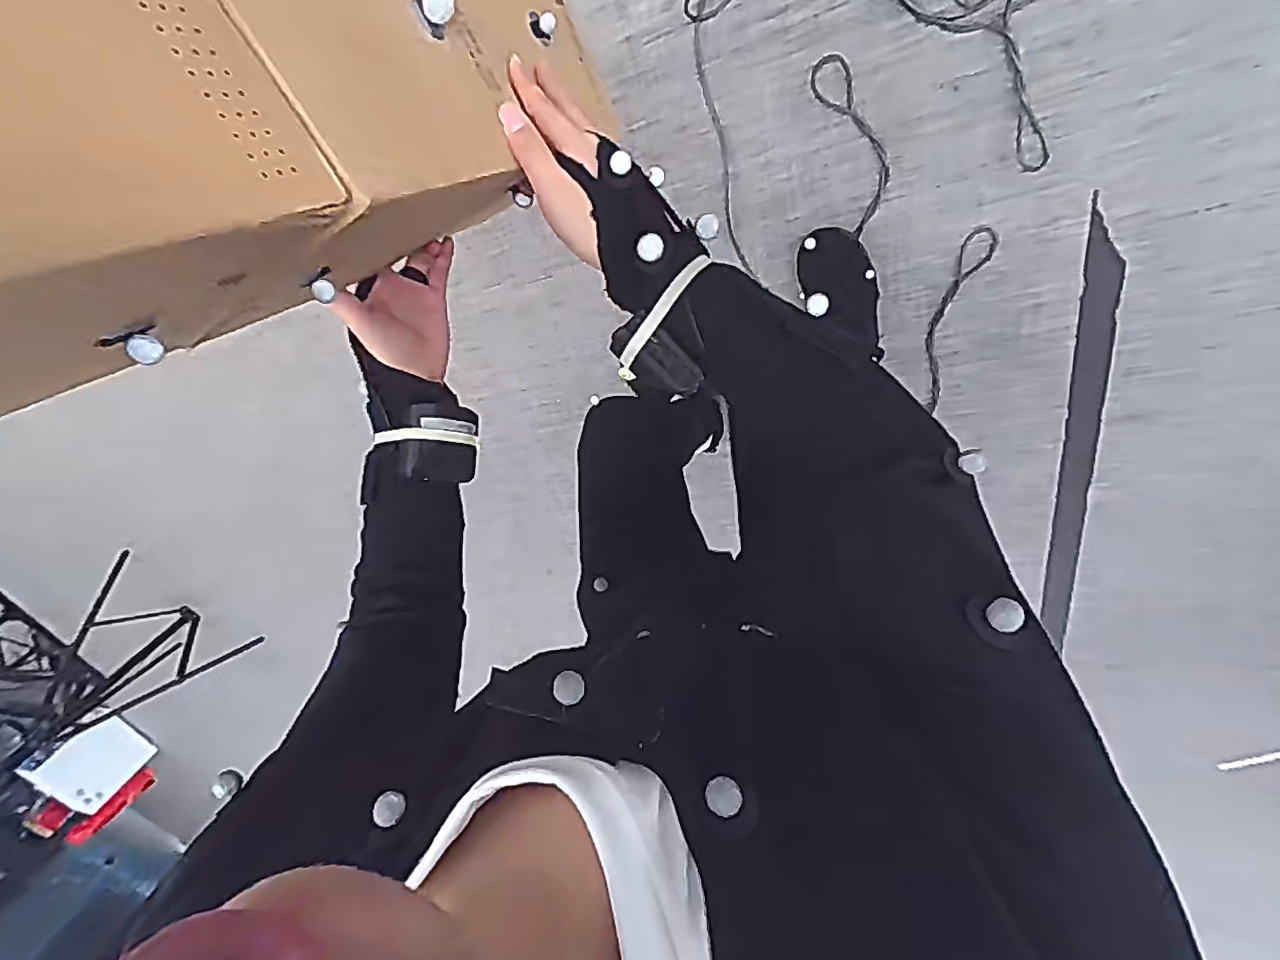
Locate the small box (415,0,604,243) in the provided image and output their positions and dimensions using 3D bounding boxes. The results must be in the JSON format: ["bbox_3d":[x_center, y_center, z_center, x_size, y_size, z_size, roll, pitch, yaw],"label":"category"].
[{"bbox_3d":[-0.145,-0.299,0.407,0.179,0.176,0.168,-12,119,29],"label":"small box"}]

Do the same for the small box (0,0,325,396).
[{"bbox_3d":[-0.246,-0.117,0.155,0.168,0.176,0.179,-15,118,30],"label":"small box"}]

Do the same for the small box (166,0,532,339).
[{"bbox_3d":[-0.191,-0.202,0.283,0.179,0.176,0.168,-14,119,29],"label":"small box"}]
